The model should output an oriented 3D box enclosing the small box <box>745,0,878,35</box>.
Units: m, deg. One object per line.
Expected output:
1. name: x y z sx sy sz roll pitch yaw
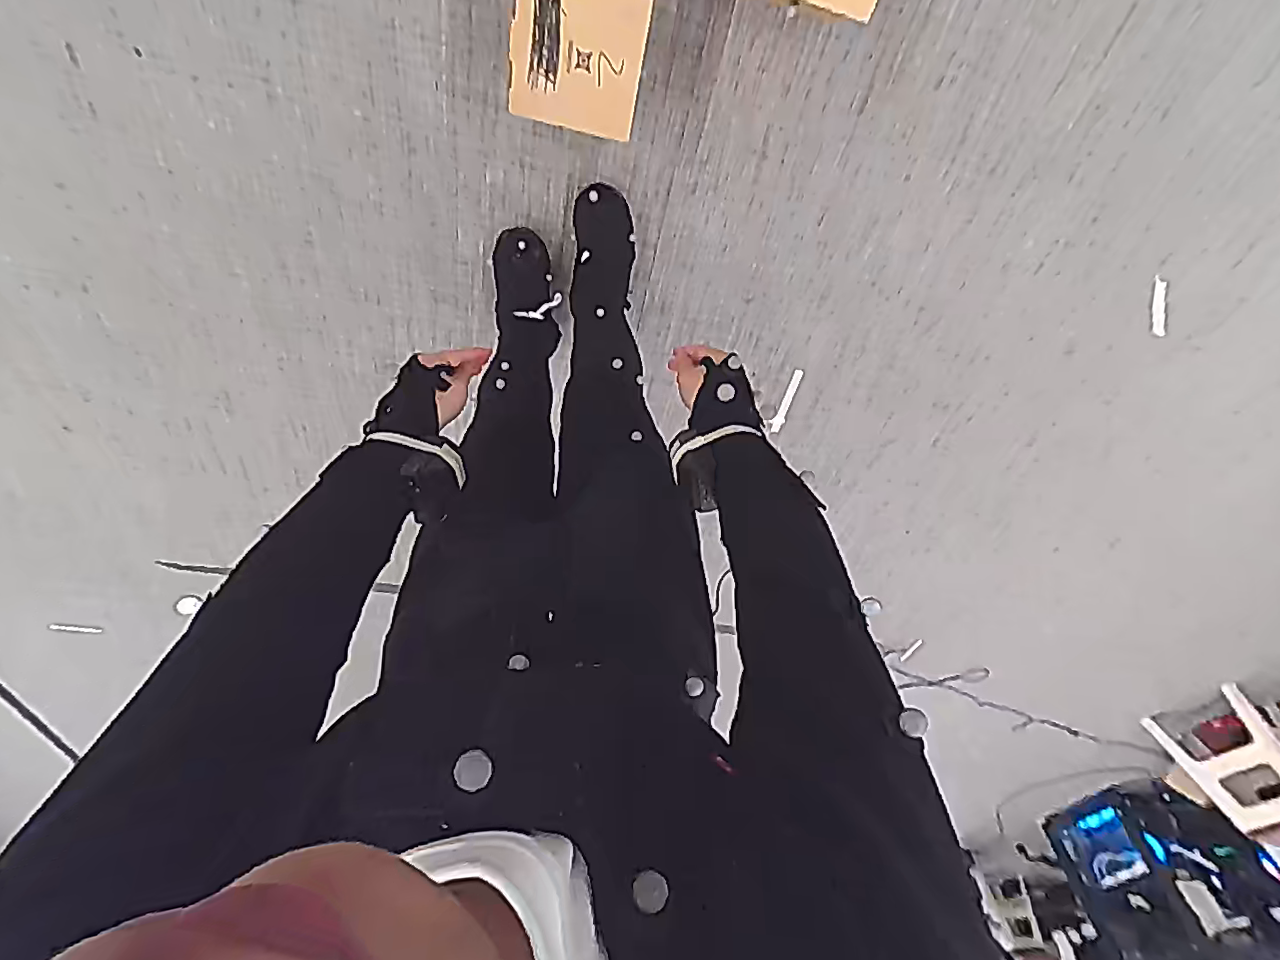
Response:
1. small box: 0.235 -0.724 0.717 0.179 0.176 0.168 10 130 -10
